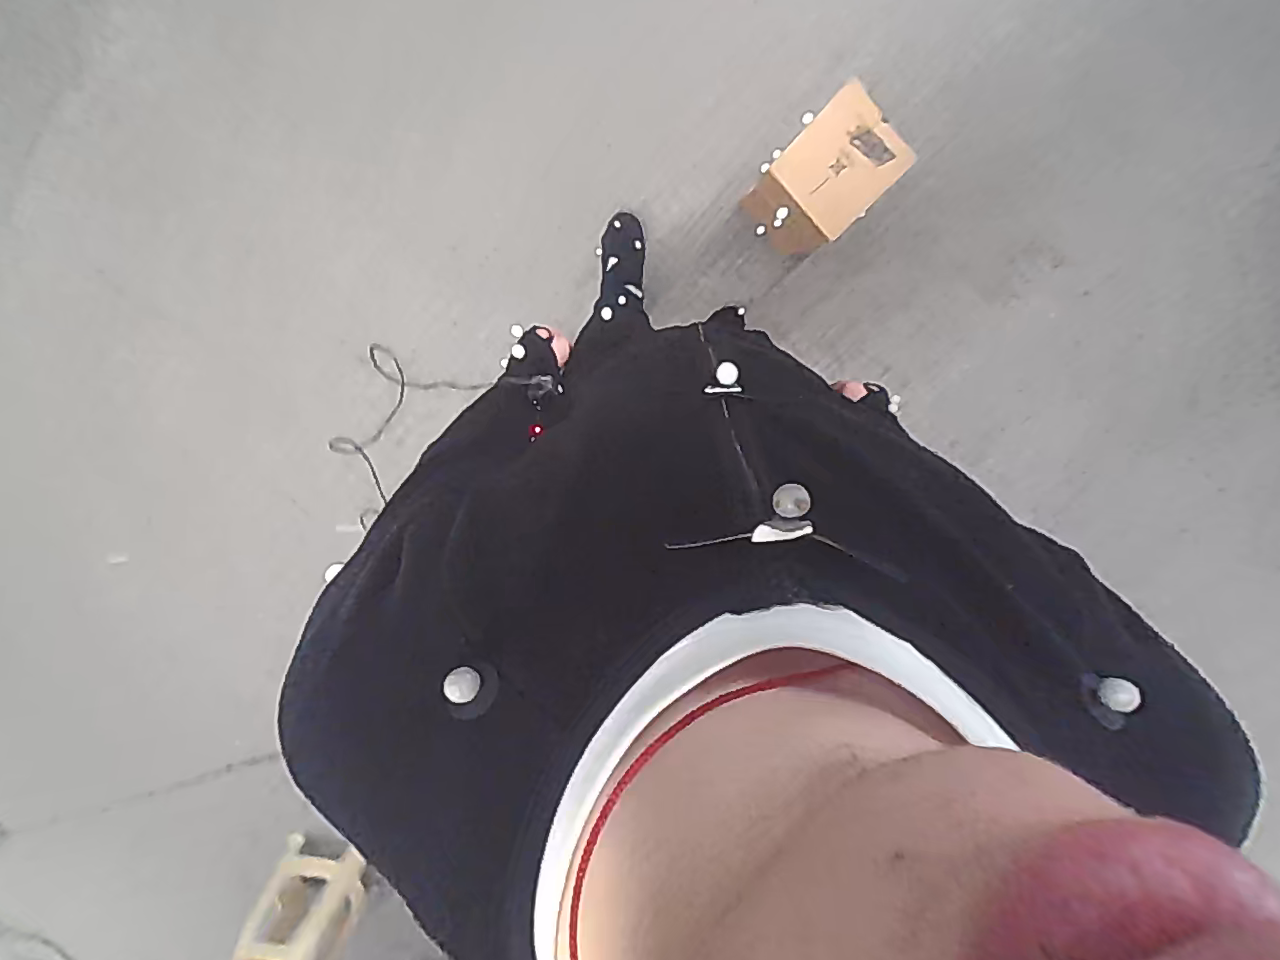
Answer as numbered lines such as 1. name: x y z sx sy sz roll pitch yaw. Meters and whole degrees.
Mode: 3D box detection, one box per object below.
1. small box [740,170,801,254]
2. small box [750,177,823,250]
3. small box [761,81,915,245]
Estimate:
1. small box: 0.356 -0.655 1.262 0.179 0.176 0.168 43 108 -13
2. small box: 0.347 -0.595 1.112 0.179 0.176 0.168 41 109 -14
3. small box: 0.335 -0.544 0.955 0.168 0.176 0.179 43 109 -12
